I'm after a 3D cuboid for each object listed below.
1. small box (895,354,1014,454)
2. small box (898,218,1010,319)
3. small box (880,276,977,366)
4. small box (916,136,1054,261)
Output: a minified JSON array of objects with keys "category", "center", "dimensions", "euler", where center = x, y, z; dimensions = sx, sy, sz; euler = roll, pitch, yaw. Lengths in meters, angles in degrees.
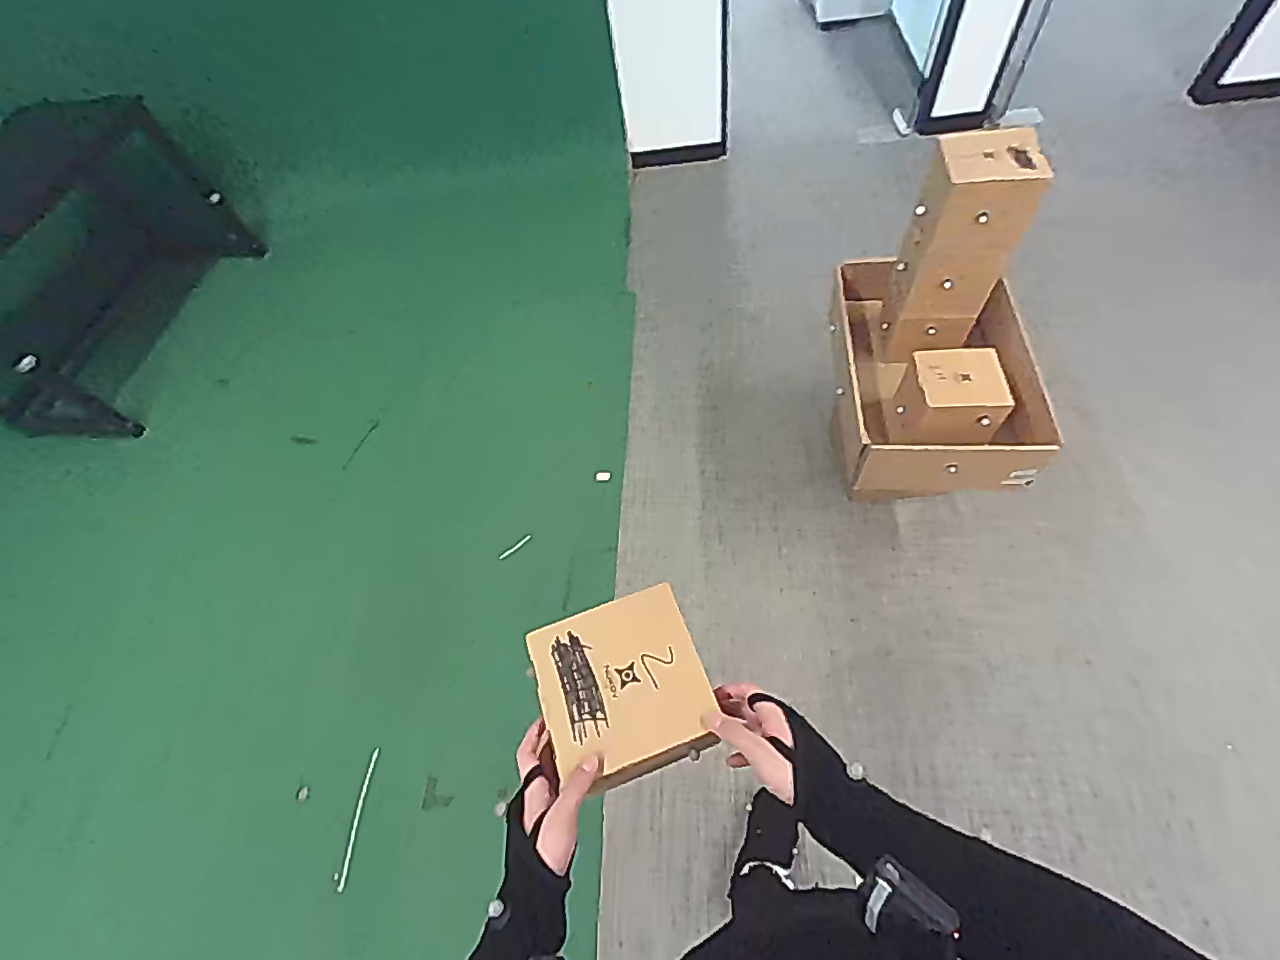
[{"category":"small box","center":[0.717,-0.173,1.255],"dimensions":[0.179,0.176,0.168],"euler":[0,58,8]},{"category":"small box","center":[0.715,-0.491,1.258],"dimensions":[0.179,0.176,0.168],"euler":[2,61,10]},{"category":"small box","center":[0.732,-0.406,1.398],"dimensions":[0.179,0.176,0.168],"euler":[4,61,9]},{"category":"small box","center":[0.698,-0.574,1.117],"dimensions":[0.179,0.176,0.168],"euler":[2,61,9]}]
